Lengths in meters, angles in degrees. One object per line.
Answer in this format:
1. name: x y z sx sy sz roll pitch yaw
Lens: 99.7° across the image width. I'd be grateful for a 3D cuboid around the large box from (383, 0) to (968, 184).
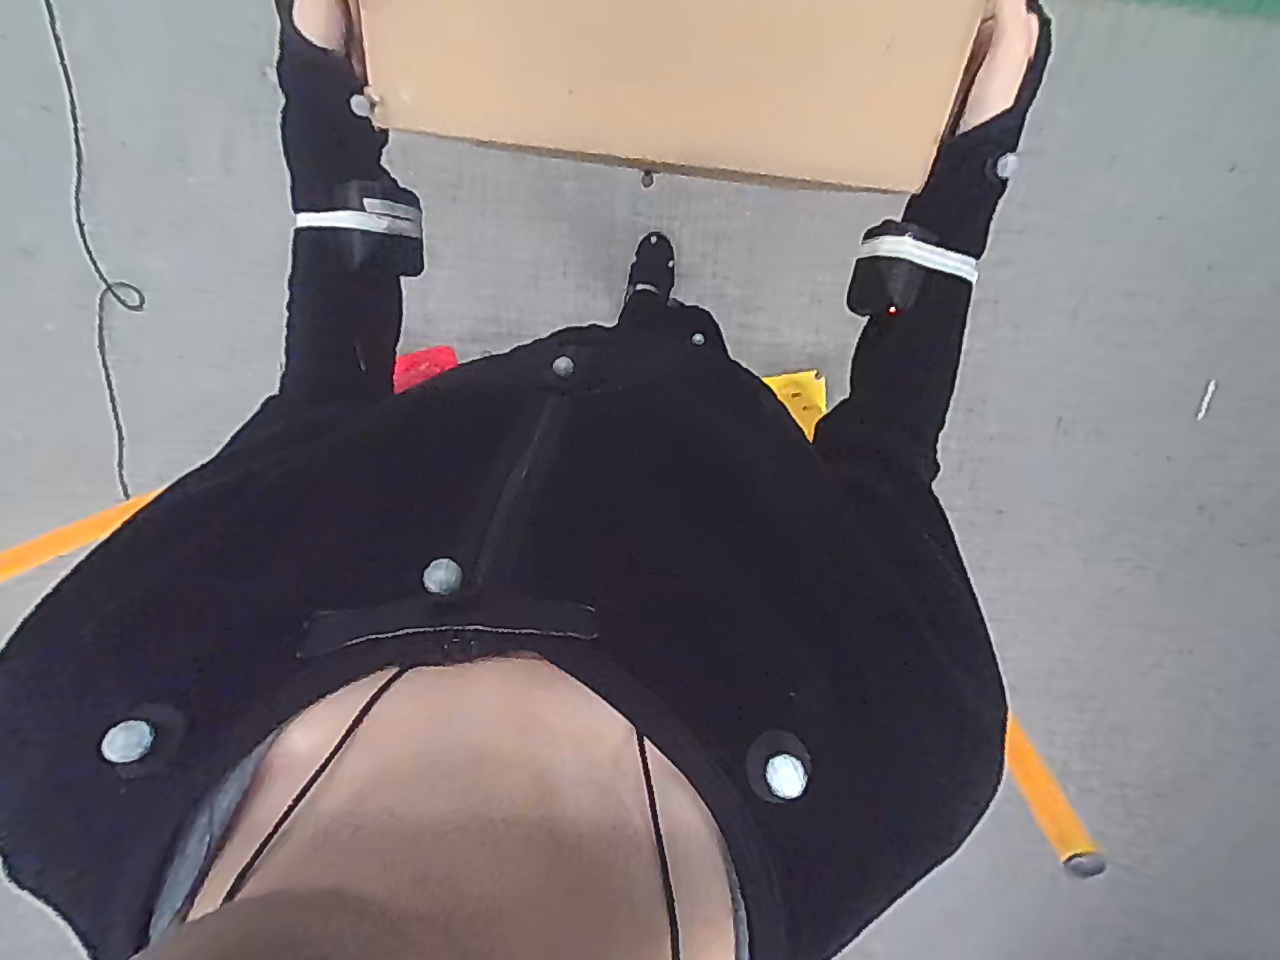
1. large box: 0.030 -0.451 0.466 0.408 0.320 0.320 5 118 -4
